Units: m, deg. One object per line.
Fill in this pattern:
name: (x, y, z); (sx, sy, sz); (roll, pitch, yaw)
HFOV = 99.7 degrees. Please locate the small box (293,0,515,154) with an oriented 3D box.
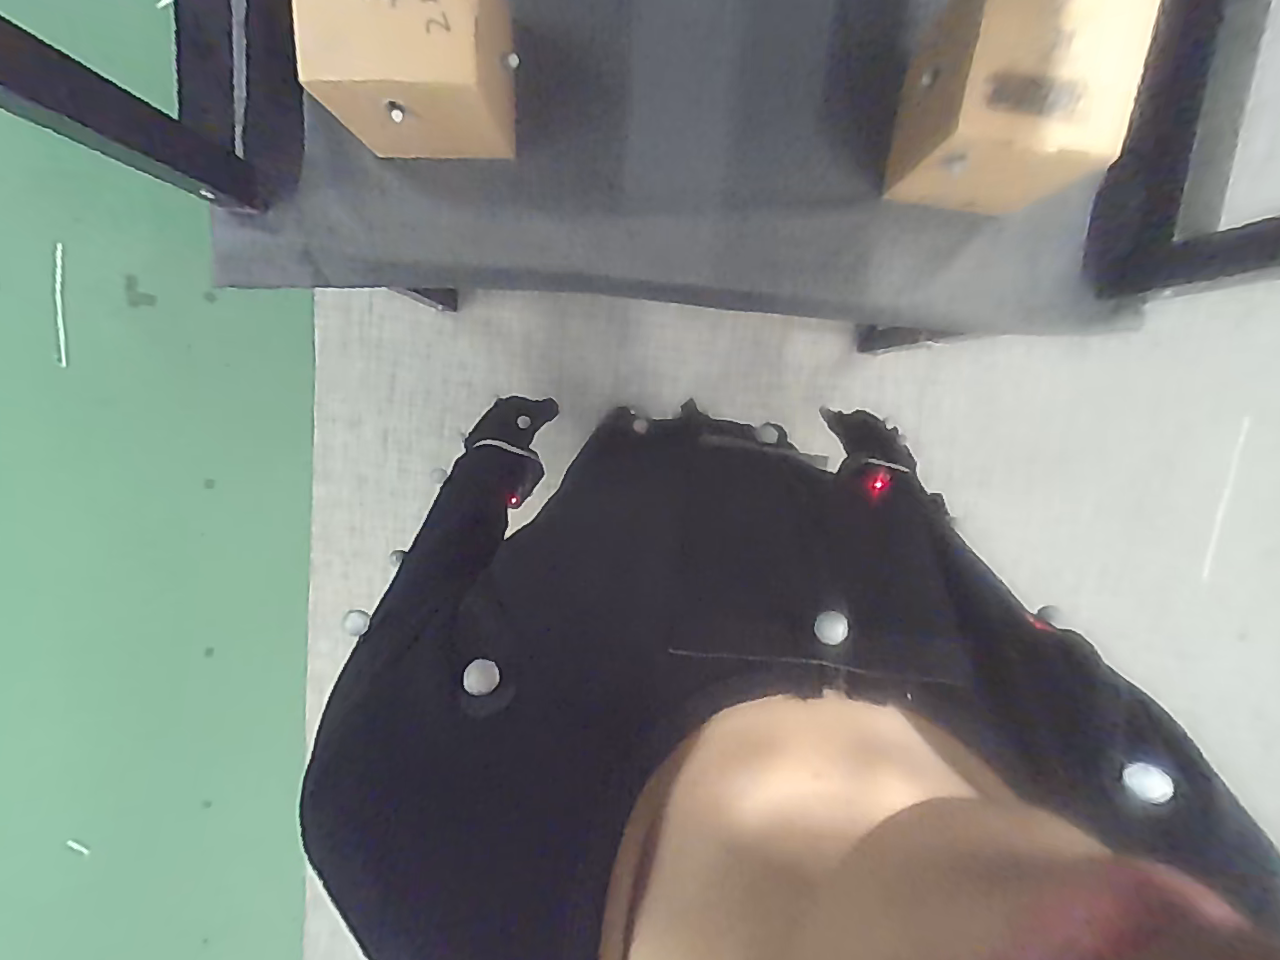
small box: (-0.243, -0.478, 0.588); (0.179, 0.176, 0.168); (1, 100, -1)
